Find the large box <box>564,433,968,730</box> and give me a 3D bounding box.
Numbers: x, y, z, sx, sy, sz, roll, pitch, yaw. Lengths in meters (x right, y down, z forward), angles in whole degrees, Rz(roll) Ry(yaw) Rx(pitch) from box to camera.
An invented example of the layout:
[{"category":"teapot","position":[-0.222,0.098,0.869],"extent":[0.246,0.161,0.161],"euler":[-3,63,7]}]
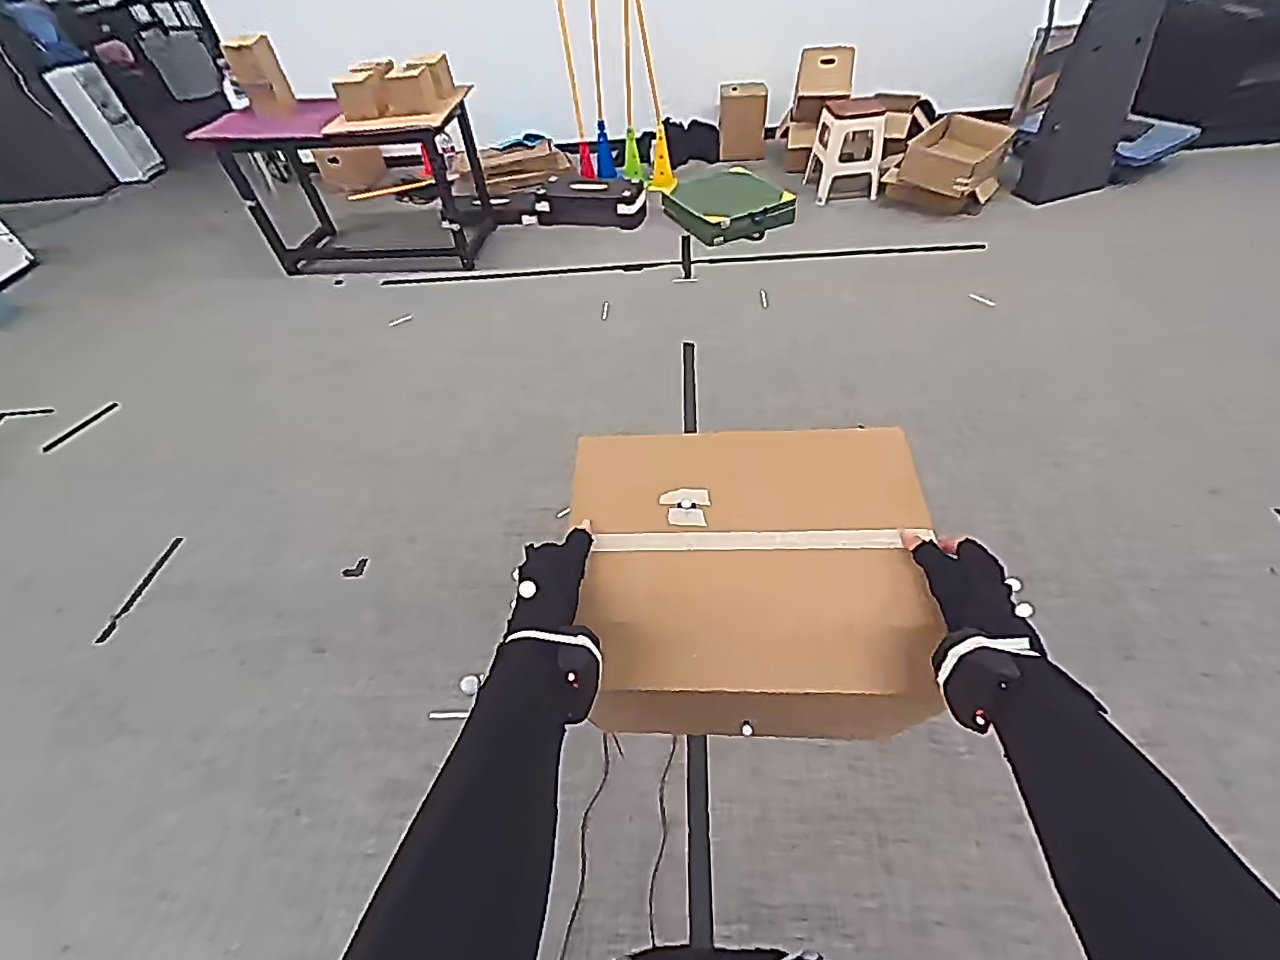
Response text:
[{"category":"large box","position":[0.139,0.156,0.737],"extent":[0.408,0.320,0.320],"euler":[-2,57,6]}]
